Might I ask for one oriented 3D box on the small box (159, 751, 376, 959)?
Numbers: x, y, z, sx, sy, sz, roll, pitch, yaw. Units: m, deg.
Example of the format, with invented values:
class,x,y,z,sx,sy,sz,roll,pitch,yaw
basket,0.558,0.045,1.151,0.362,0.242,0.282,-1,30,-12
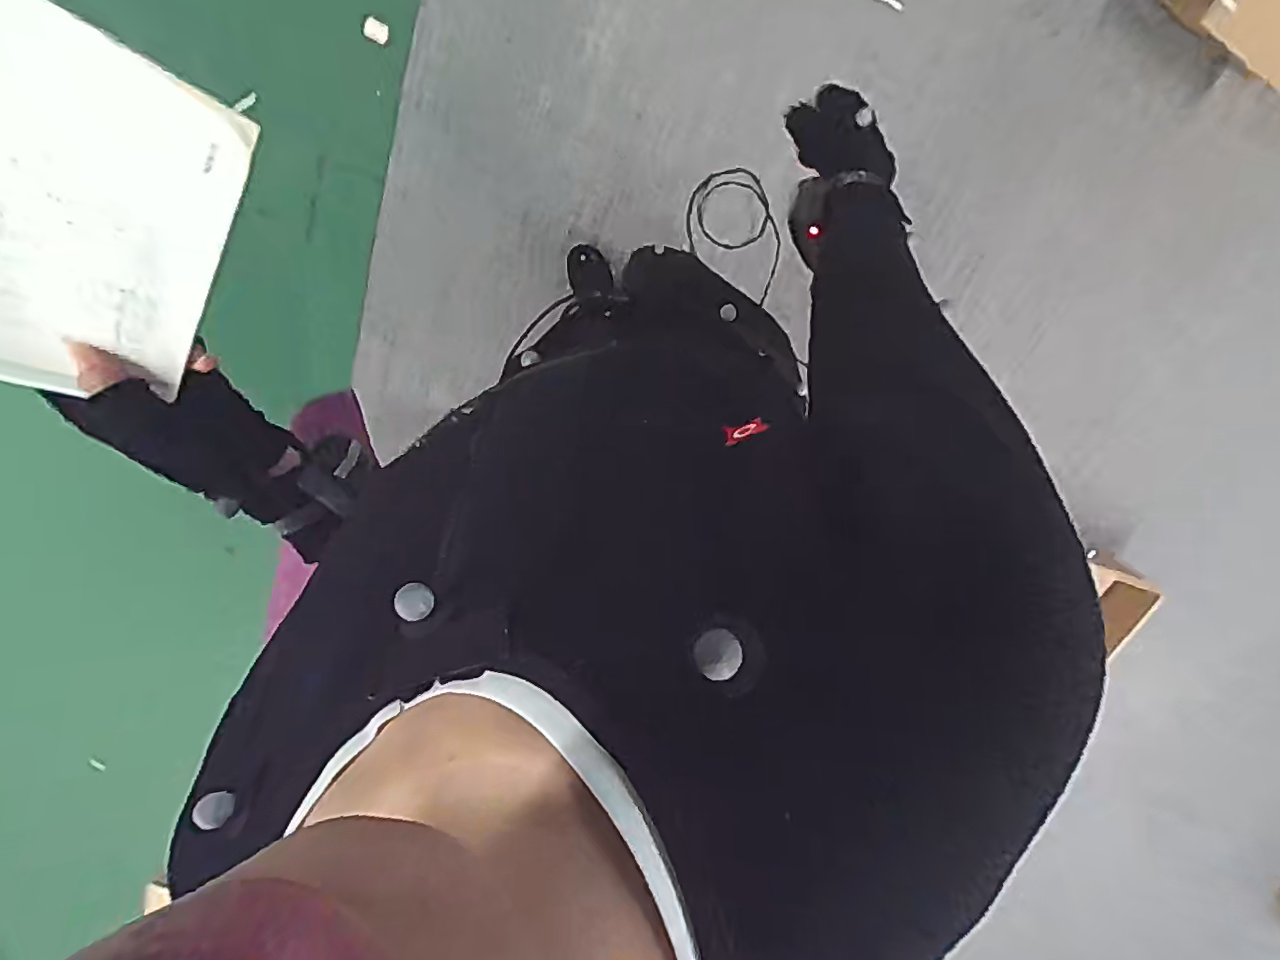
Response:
class,x,y,z,sx,sy,sz,roll,pitch,yaw
small box,-0.474,0.496,0.710,0.168,0.176,0.179,21,112,-7
